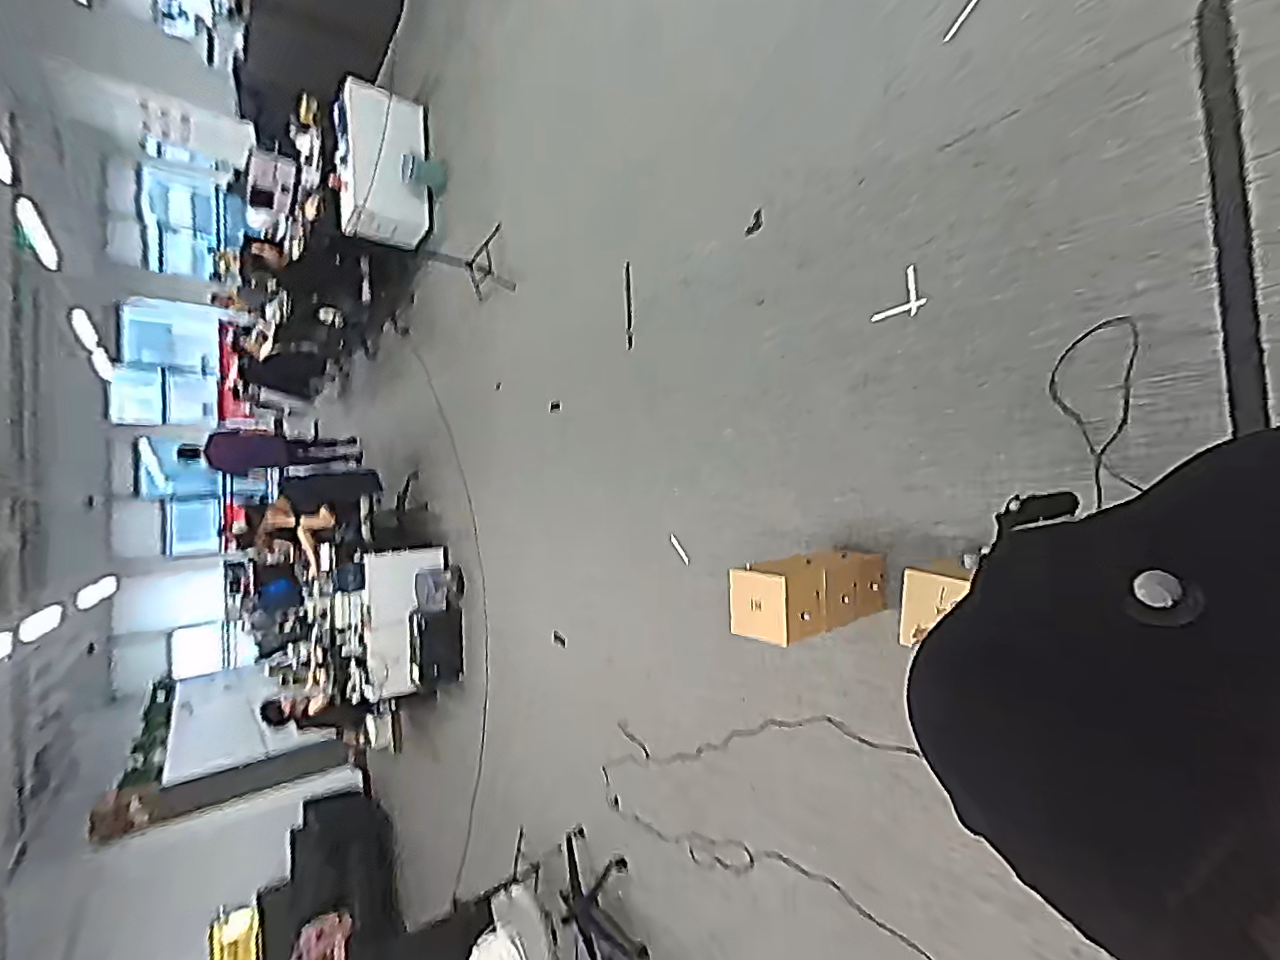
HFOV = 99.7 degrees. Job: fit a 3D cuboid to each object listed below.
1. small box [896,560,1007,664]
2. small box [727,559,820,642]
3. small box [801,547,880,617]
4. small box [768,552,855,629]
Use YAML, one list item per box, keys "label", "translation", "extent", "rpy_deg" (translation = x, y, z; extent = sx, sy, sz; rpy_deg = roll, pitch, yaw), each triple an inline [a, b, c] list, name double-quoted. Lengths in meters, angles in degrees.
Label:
- label: "small box"
  translation: [0.703, 0.287, 1.219]
  extent: [0.168, 0.176, 0.179]
  rpy_deg: [8, 97, 50]
- label: "small box"
  translation: [0.346, 0.301, 1.389]
  extent: [0.179, 0.176, 0.168]
  rpy_deg: [-1, 91, 51]
- label: "small box"
  translation: [0.594, 0.295, 1.605]
  extent: [0.179, 0.176, 0.168]
  rpy_deg: [0, 91, 50]
- label: "small box"
  translation: [0.473, 0.296, 1.492]
  extent: [0.179, 0.176, 0.168]
  rpy_deg: [3, 93, 51]
